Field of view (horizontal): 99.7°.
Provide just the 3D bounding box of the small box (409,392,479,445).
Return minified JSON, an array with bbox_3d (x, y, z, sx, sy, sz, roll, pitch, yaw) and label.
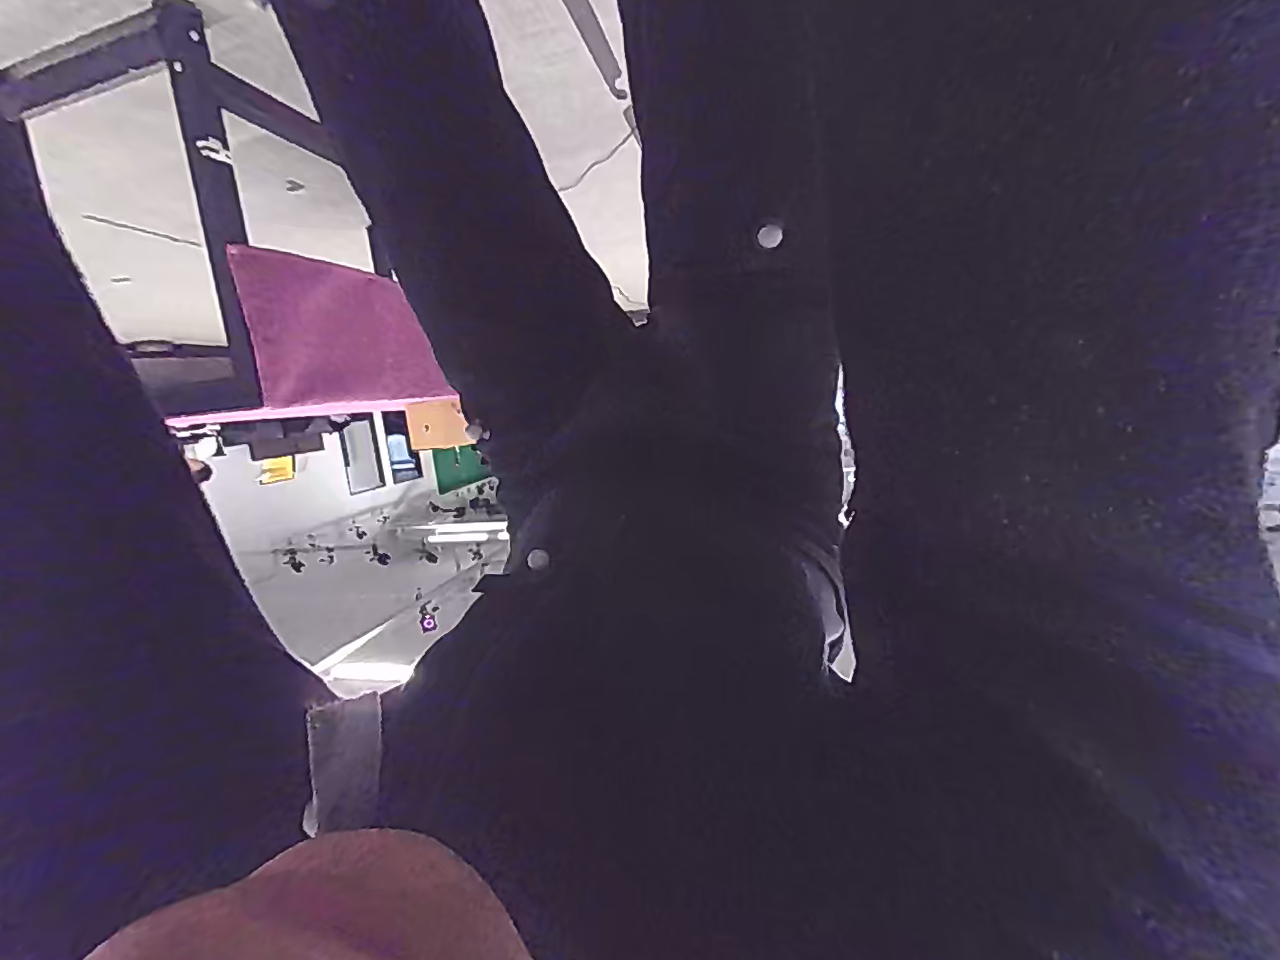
[{"bbox_3d":[-0.711,-0.225,1.955,0.179,0.176,0.168,-3,-170,28],"label":"small box"}]
